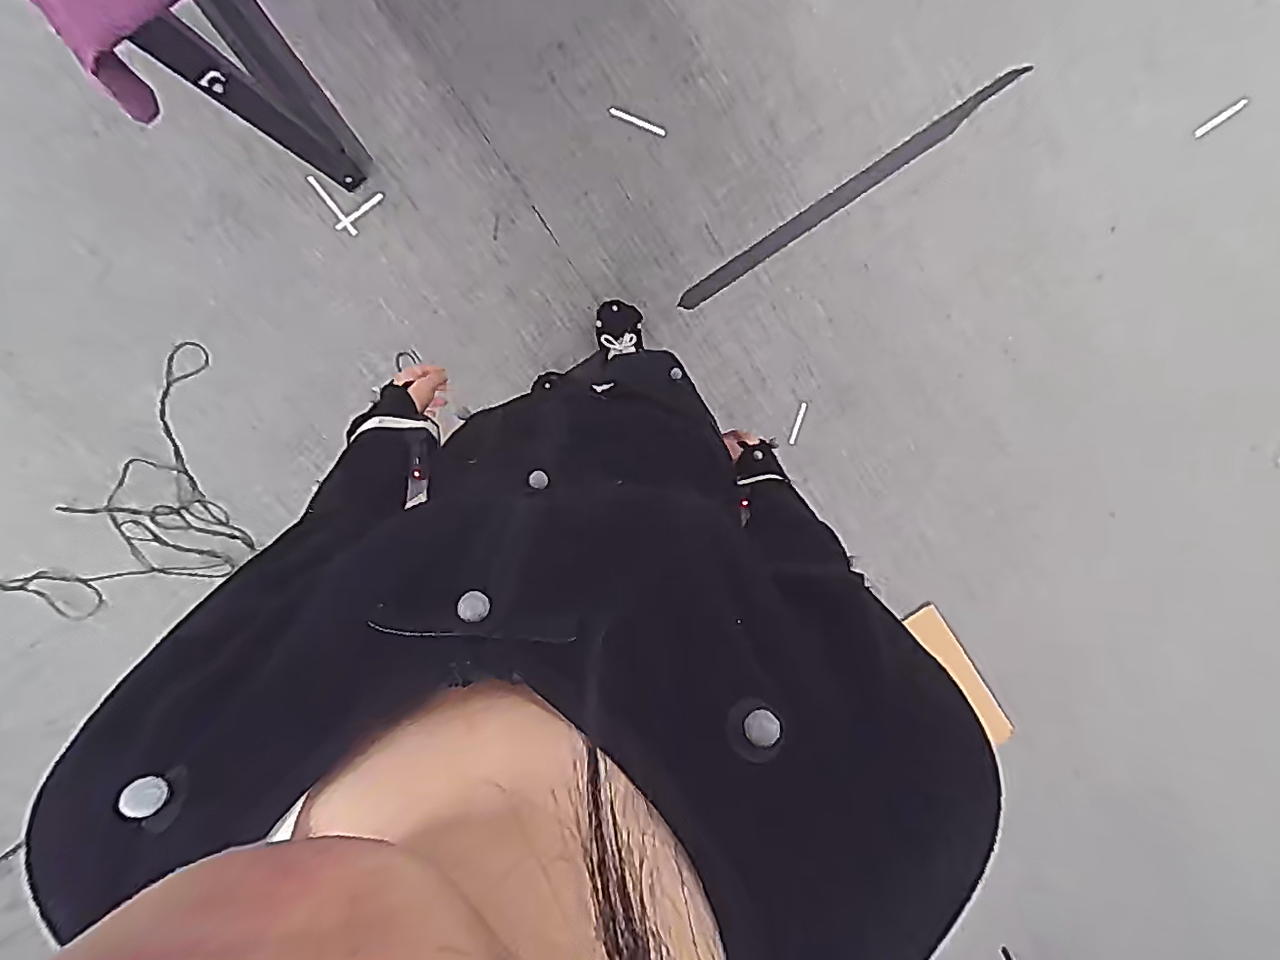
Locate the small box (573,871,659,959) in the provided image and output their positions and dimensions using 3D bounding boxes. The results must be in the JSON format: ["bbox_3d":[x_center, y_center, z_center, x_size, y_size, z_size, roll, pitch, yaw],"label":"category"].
[{"bbox_3d":[-0.064,1.129,1.359,0.179,0.176,0.168,14,100,-7],"label":"small box"}]
